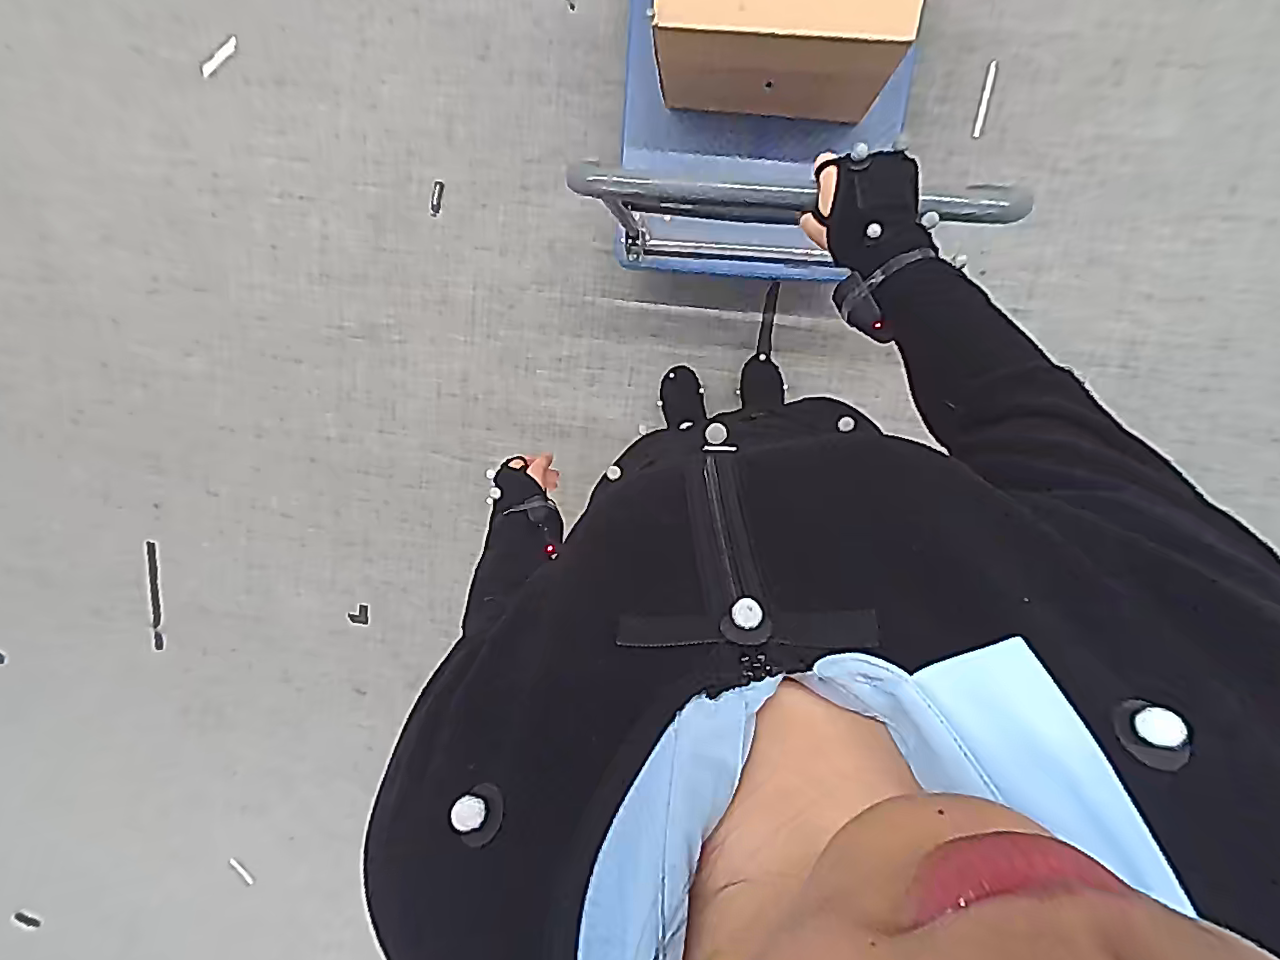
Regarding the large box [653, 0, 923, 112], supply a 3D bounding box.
[{"bbox_3d":[0.251,-0.869,0.926,0.408,0.320,0.320,8,104,6],"label":"large box"}]
